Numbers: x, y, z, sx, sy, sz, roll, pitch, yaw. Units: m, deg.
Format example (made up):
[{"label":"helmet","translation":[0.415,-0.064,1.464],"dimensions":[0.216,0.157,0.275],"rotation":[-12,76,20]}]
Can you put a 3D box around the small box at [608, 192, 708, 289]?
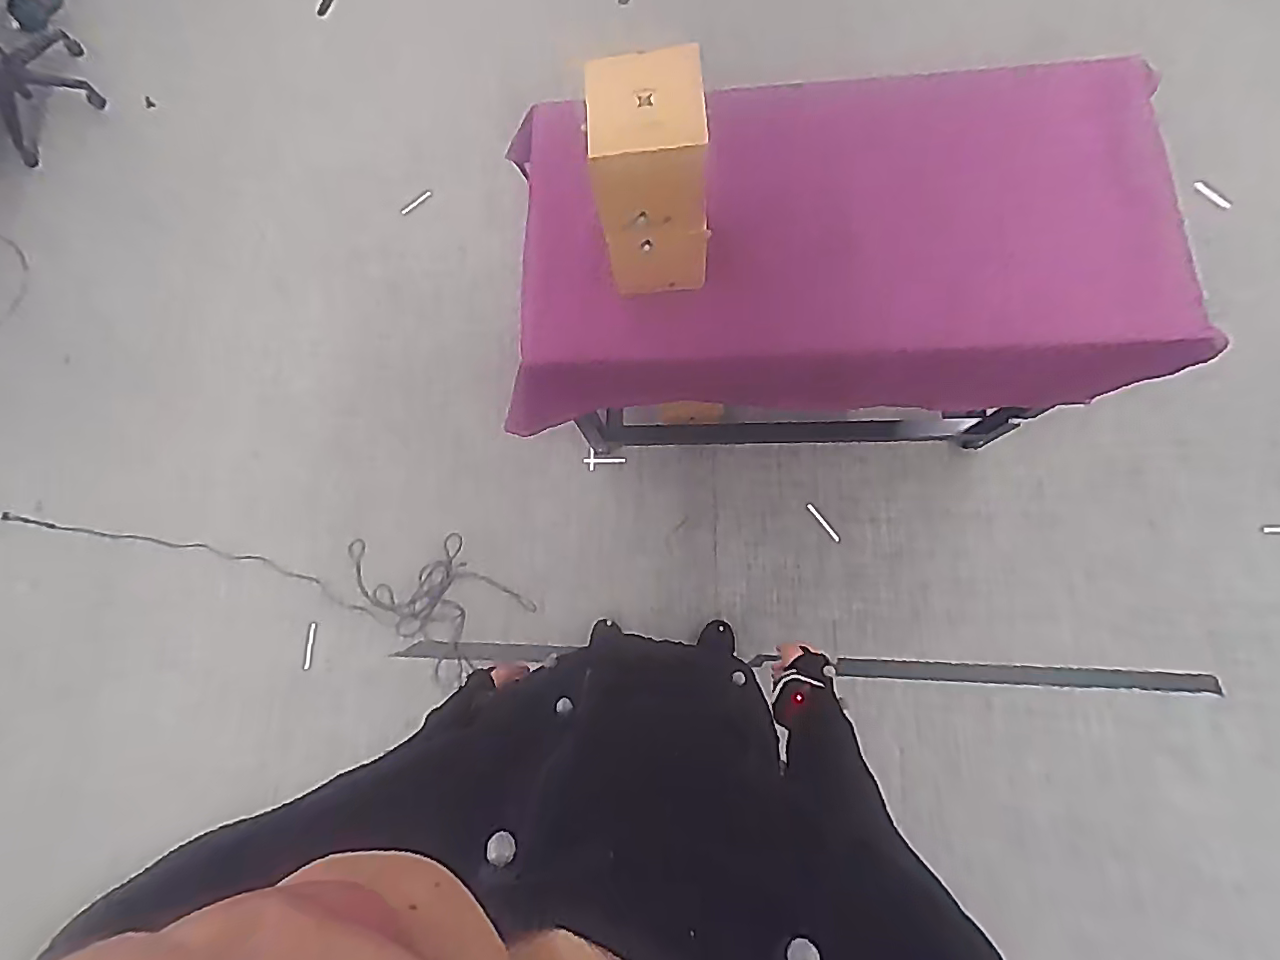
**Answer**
[{"label":"small box","translation":[0.035,-0.472,0.979],"dimensions":[0.168,0.176,0.179],"rotation":[-2,77,5]}]

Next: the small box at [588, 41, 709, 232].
[{"label":"small box","translation":[0.015,-0.510,0.821],"dimensions":[0.168,0.176,0.179],"rotation":[-4,77,5]}]
